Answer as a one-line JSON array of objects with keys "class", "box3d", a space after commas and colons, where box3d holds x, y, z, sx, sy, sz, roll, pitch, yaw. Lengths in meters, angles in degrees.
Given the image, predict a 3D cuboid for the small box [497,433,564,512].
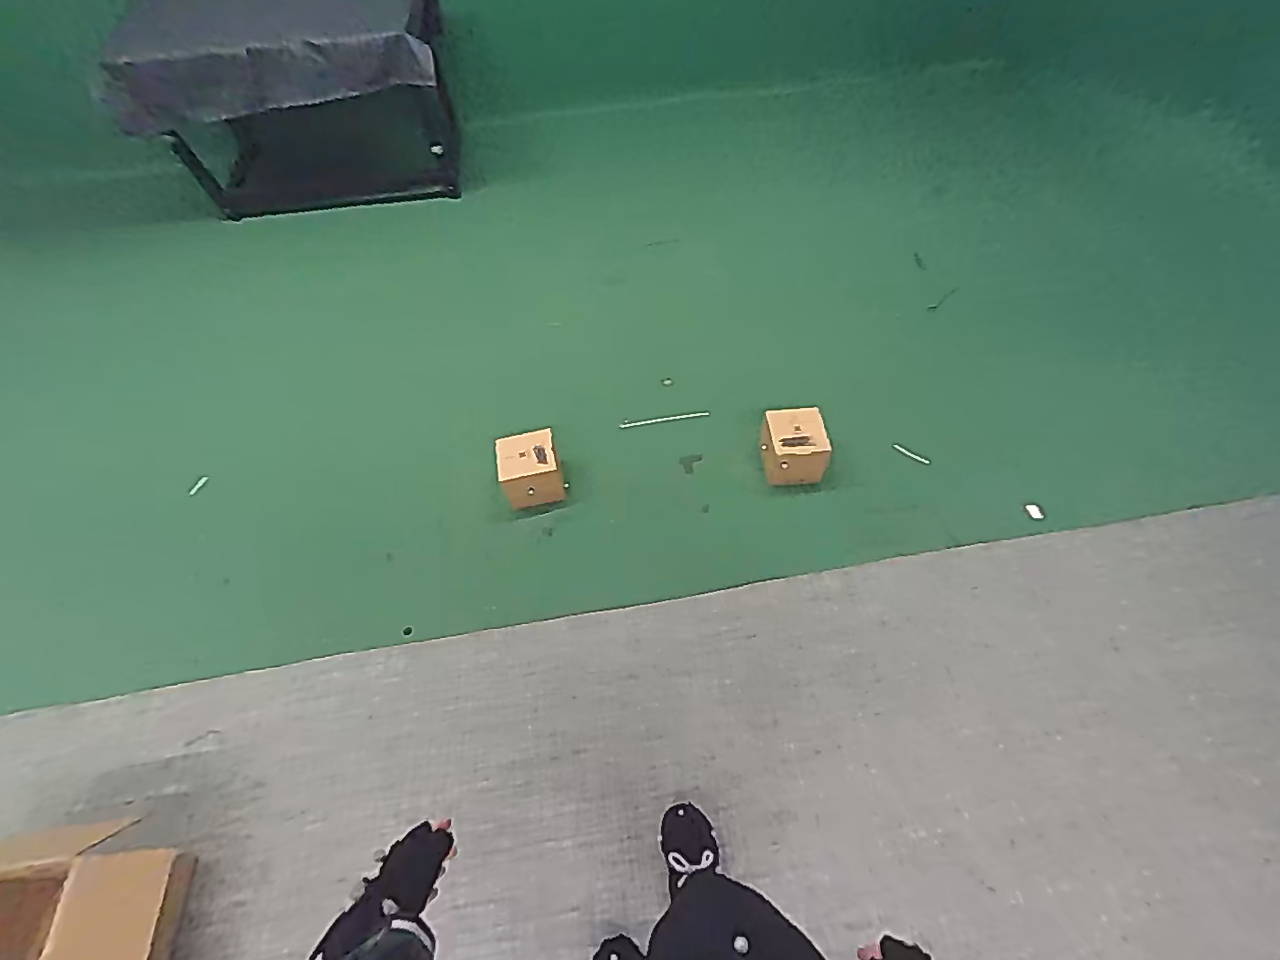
[{"class": "small box", "box3d": [-0.340, -0.021, 1.701, 0.179, 0.176, 0.168, -12, 56, -3]}]
